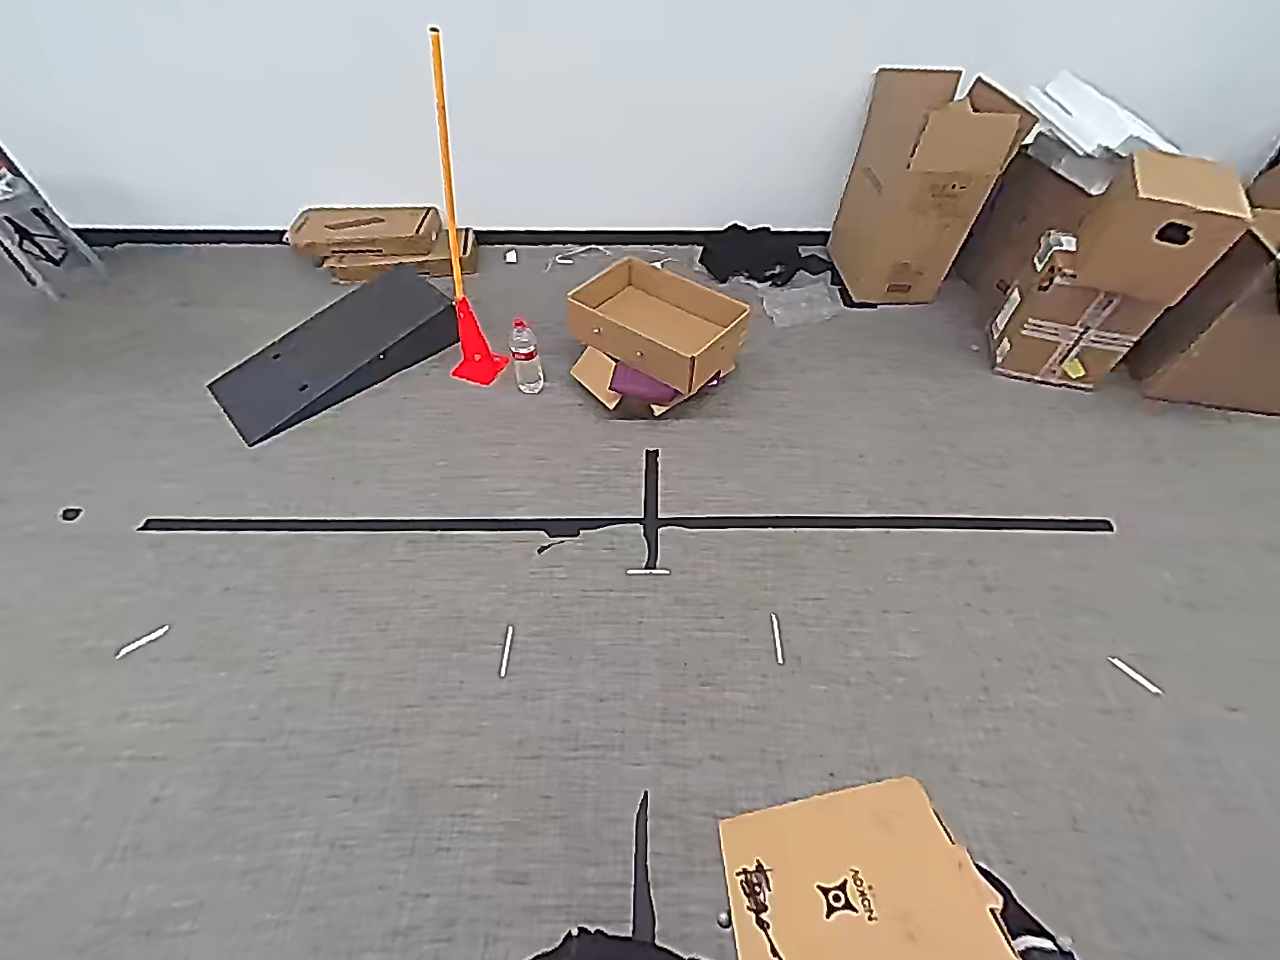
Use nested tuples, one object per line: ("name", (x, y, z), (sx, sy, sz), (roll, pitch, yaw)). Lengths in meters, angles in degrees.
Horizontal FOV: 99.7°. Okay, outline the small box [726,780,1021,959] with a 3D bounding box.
("small box", (0.179, 0.380, 0.423), (0.179, 0.176, 0.168), (-16, 17, 5))
